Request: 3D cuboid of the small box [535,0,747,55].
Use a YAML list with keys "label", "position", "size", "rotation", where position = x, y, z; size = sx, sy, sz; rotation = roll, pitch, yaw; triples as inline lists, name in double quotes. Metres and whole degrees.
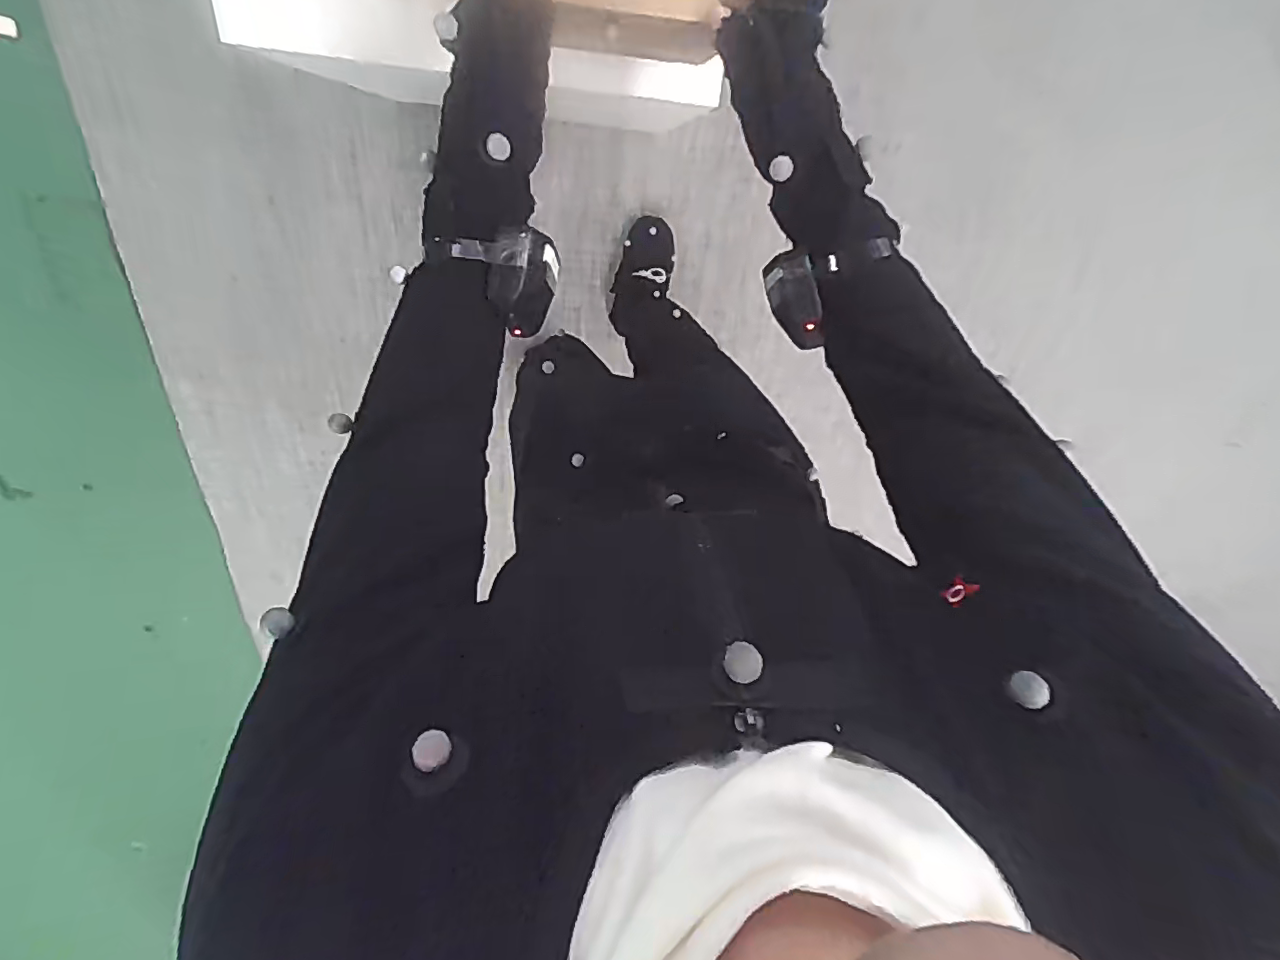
- label: "small box"
  position: [-0.003, -0.459, 0.418]
  size: [0.168, 0.176, 0.179]
  rotation: [2, 121, -7]
